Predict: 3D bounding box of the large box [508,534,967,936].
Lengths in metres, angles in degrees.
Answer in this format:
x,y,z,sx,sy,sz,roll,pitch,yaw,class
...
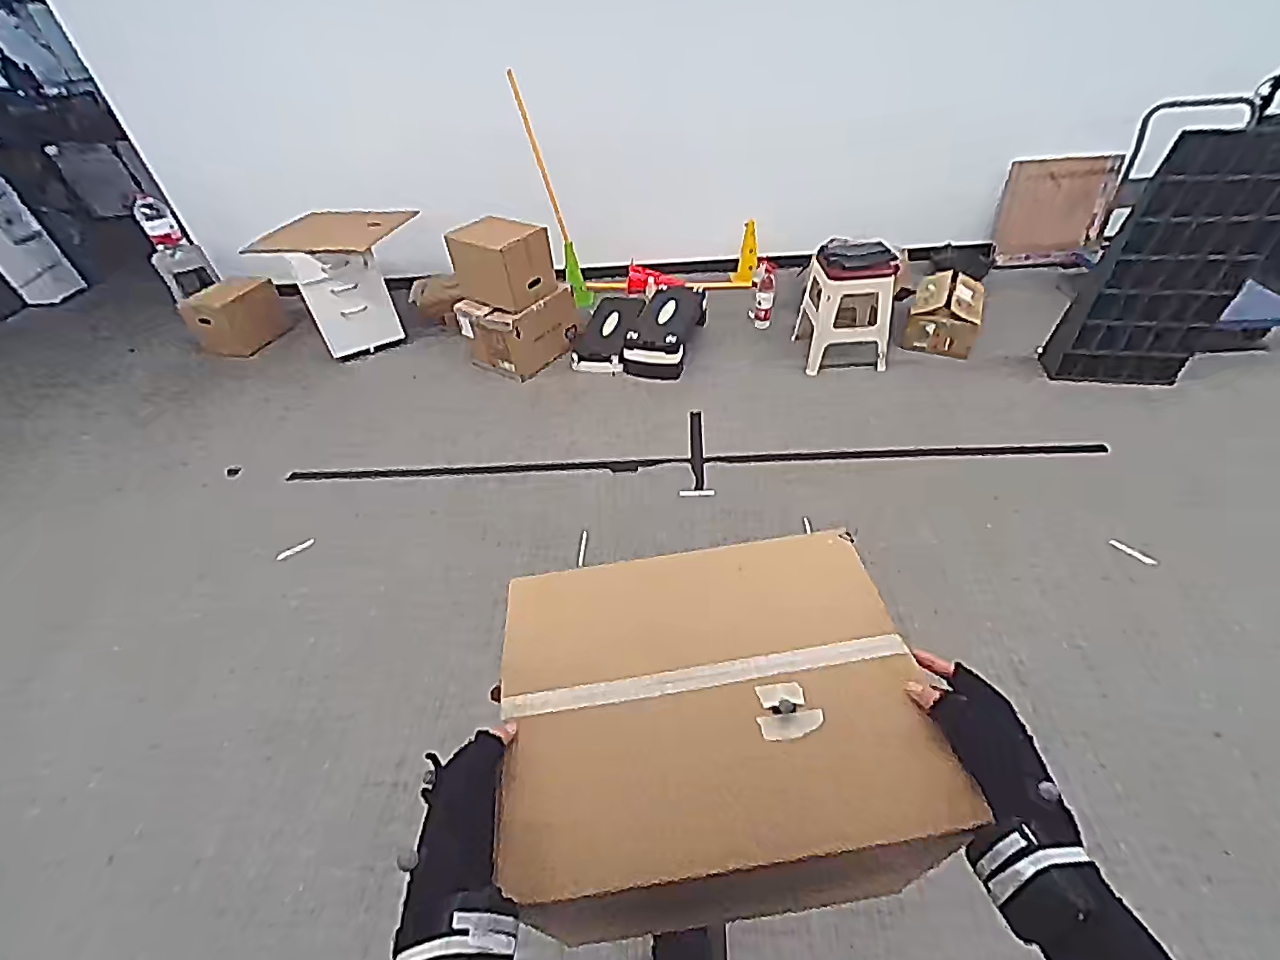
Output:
x,y,z,sx,sy,sz,roll,pitch,yaw,class
0.077,0.307,0.659,0.408,0.320,0.320,-8,45,-2,large box
